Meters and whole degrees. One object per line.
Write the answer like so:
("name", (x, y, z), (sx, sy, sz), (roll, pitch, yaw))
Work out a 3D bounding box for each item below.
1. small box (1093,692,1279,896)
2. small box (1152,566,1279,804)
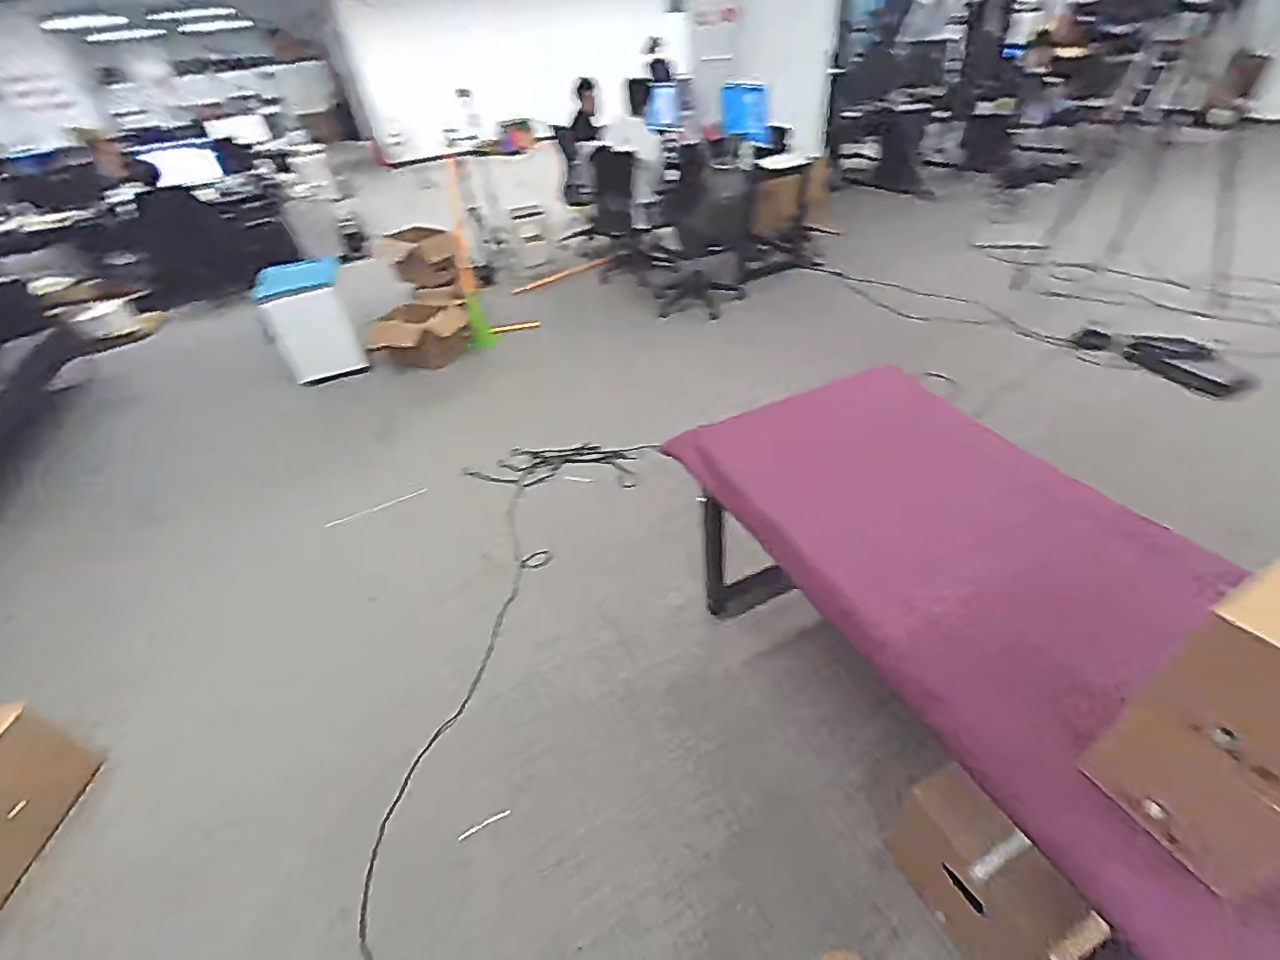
("small box", (0.683, 0.327, 0.622), (0.179, 0.176, 0.168), (-19, 39, -15))
("small box", (0.667, 0.197, 0.526), (0.179, 0.176, 0.168), (-21, 39, -17))
